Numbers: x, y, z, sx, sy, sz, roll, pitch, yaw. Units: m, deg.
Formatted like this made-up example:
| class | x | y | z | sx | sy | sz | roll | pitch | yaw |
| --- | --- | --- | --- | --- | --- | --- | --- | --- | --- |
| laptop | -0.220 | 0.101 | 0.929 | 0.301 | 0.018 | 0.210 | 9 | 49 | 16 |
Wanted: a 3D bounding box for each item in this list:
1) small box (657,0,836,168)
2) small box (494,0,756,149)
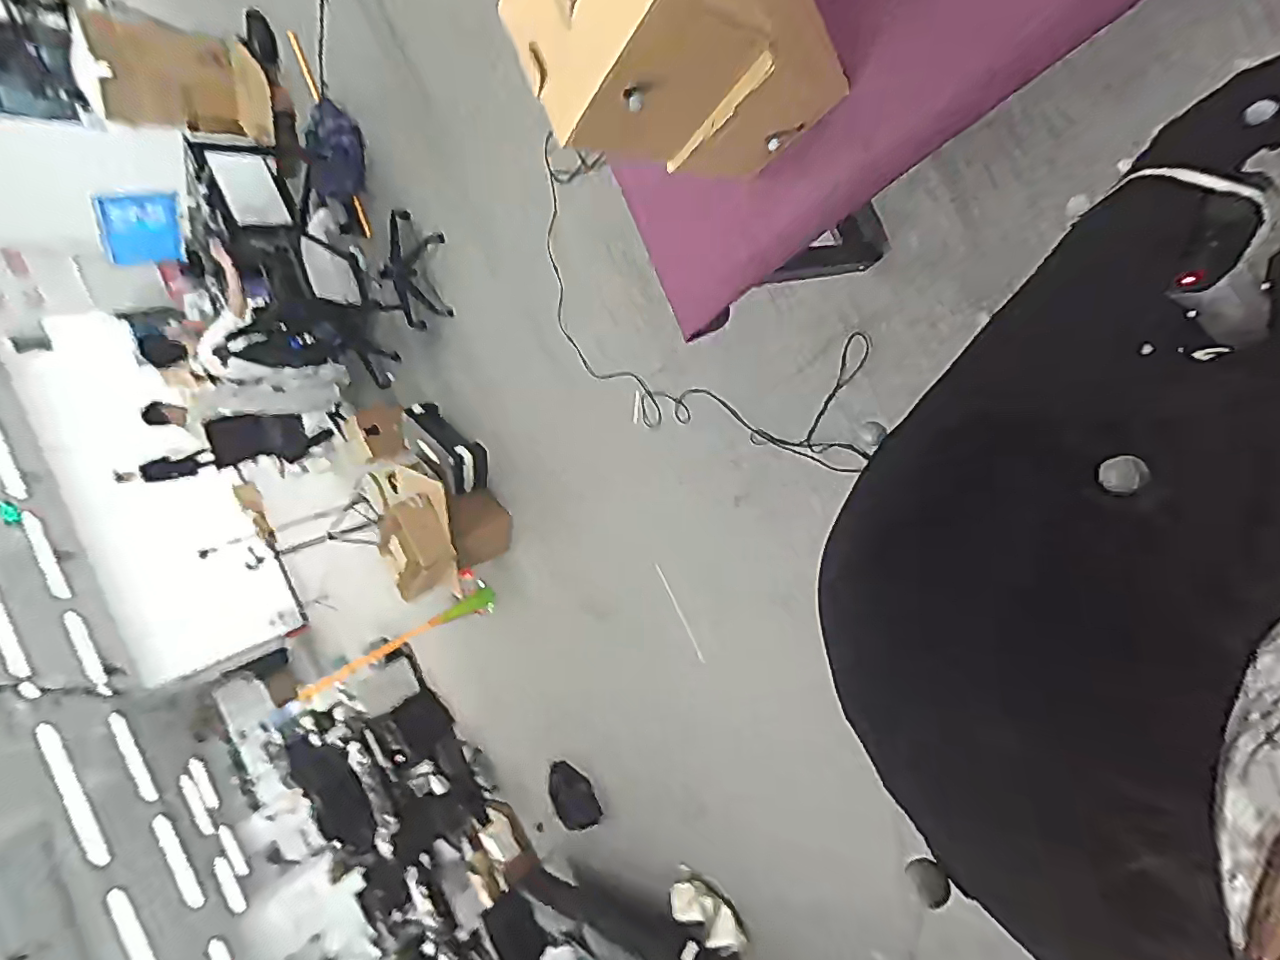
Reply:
| class | x | y | z | sx | sy | sz | roll | pitch | yaw |
| --- | --- | --- | --- | --- | --- | --- | --- | --- | --- |
| small box | 0.104 | -0.508 | 0.651 | 0.168 | 0.176 | 0.179 | -20 | 94 | 49 |
| small box | -0.009 | -0.468 | 0.539 | 0.179 | 0.176 | 0.168 | -26 | 89 | 49 |
